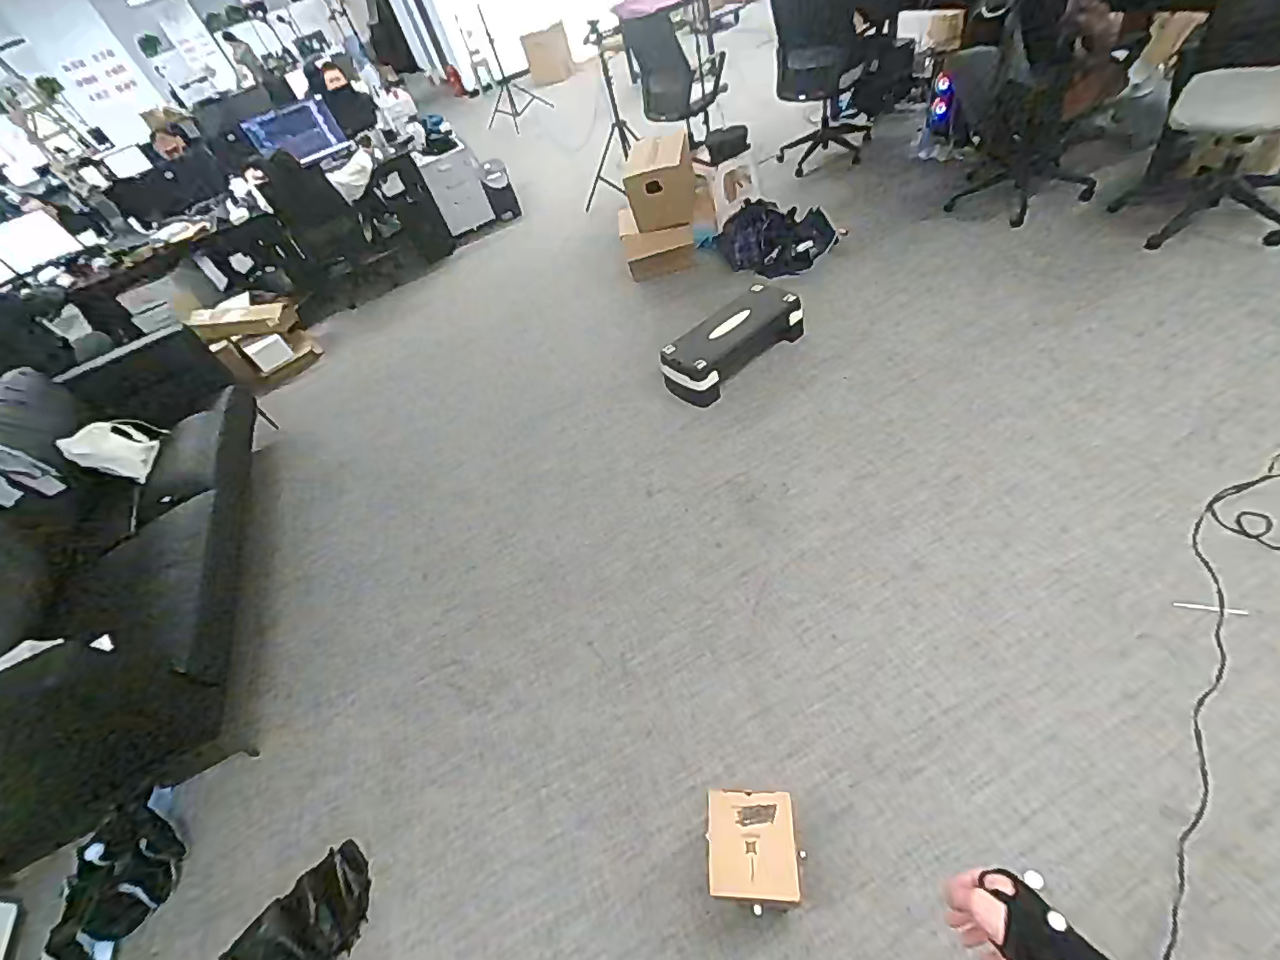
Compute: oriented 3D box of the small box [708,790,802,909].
[{"bbox_3d":[0.233,0.749,1.097,0.168,0.176,0.179,-7,48,14],"label":"small box"}]
